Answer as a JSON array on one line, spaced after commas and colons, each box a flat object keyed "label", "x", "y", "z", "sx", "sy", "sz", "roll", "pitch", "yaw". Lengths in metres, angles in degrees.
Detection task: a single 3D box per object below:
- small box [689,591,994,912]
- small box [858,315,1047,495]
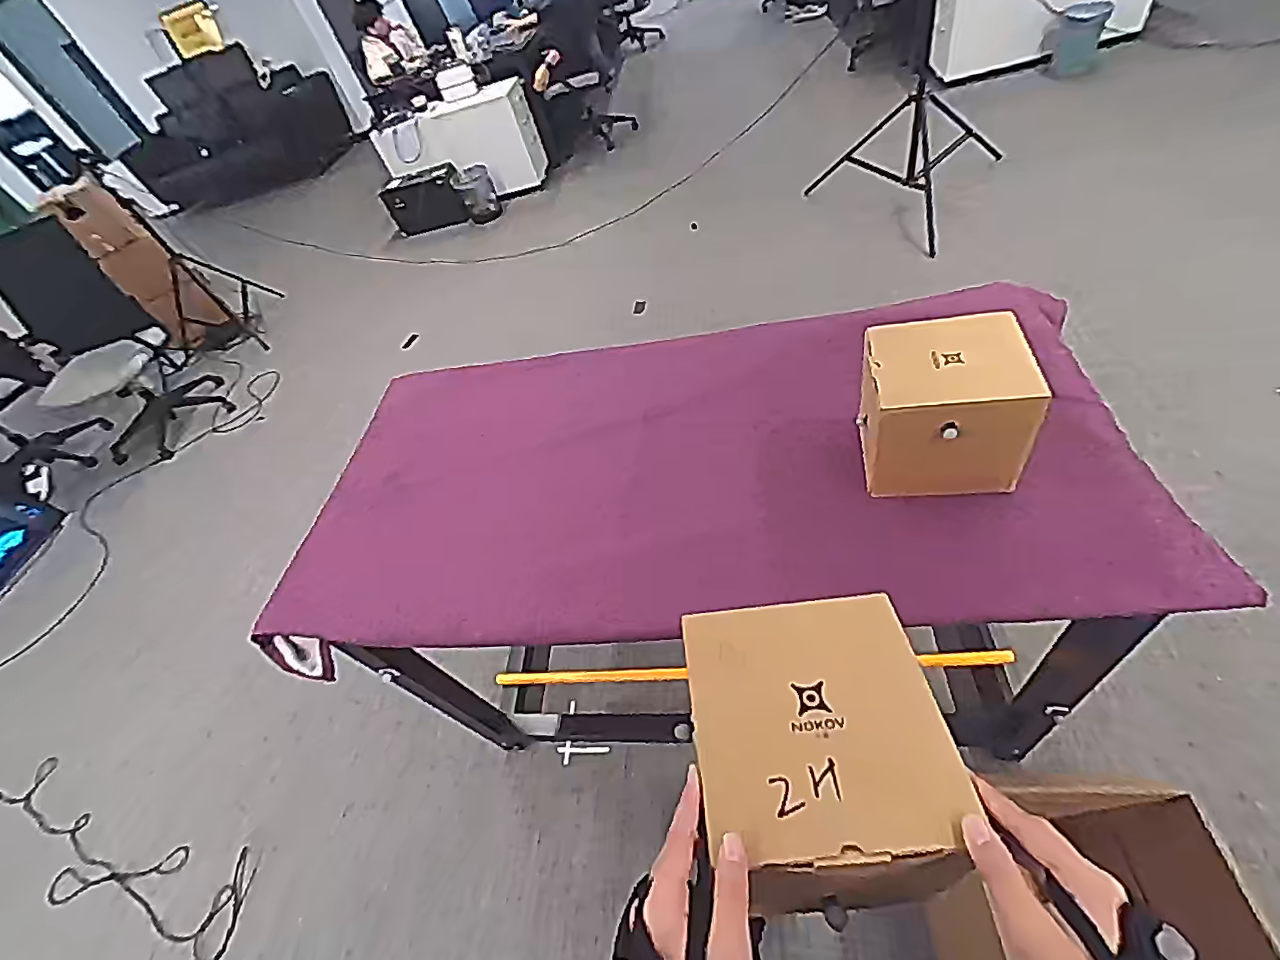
[{"label": "small box", "x": 0.130, "y": 0.214, "z": 0.428, "sx": 0.168, "sy": 0.176, "sz": 0.179, "roll": -7, "pitch": 43, "yaw": 4}, {"label": "small box", "x": 0.395, "y": -0.093, "z": 0.721, "sx": 0.179, "sy": 0.176, "sz": 0.168, "roll": -3, "pitch": 49, "yaw": 17}]
